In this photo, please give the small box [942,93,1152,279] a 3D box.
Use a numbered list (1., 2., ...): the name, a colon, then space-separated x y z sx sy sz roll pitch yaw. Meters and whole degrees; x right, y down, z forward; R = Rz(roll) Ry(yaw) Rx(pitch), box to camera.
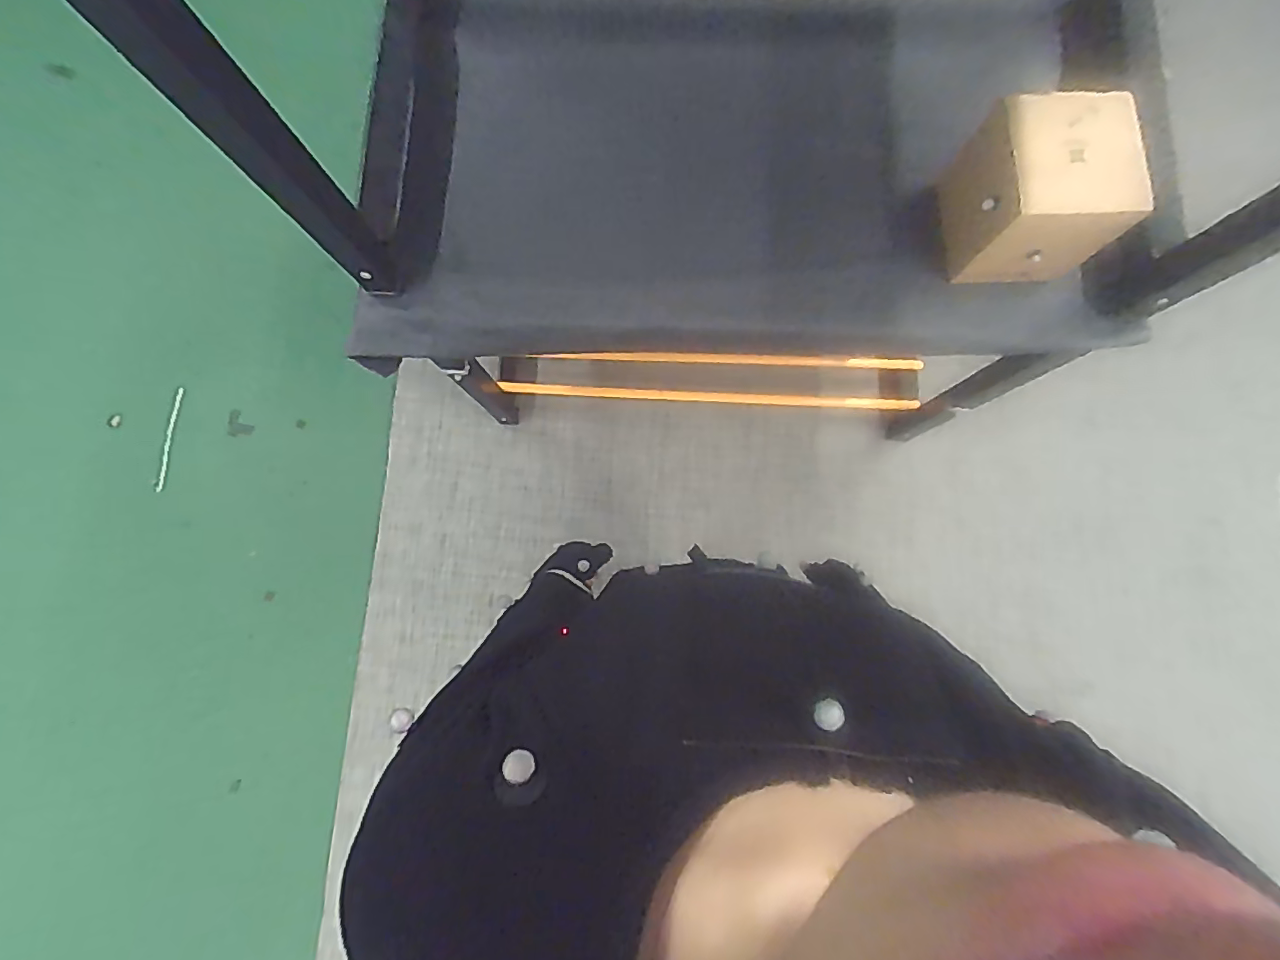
1. small box: 0.559 -0.403 0.769 0.168 0.176 0.179 -1 80 1
